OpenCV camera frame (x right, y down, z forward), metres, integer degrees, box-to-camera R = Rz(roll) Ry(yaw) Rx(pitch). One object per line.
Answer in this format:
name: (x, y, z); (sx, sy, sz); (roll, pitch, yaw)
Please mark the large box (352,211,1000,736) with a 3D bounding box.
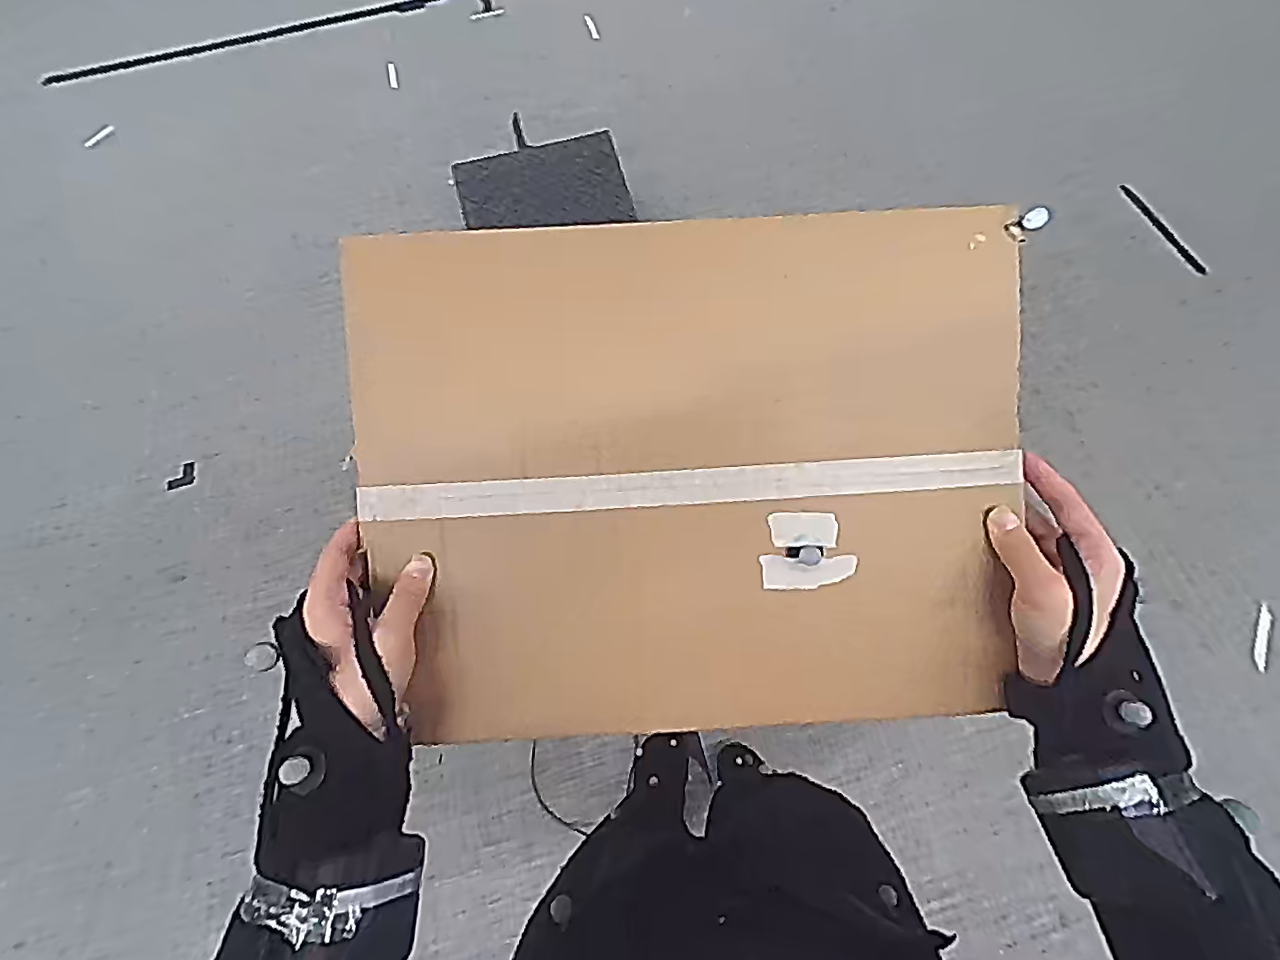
large box: (0.026, -0.010, 0.494); (0.408, 0.320, 0.320); (-4, 95, -1)
